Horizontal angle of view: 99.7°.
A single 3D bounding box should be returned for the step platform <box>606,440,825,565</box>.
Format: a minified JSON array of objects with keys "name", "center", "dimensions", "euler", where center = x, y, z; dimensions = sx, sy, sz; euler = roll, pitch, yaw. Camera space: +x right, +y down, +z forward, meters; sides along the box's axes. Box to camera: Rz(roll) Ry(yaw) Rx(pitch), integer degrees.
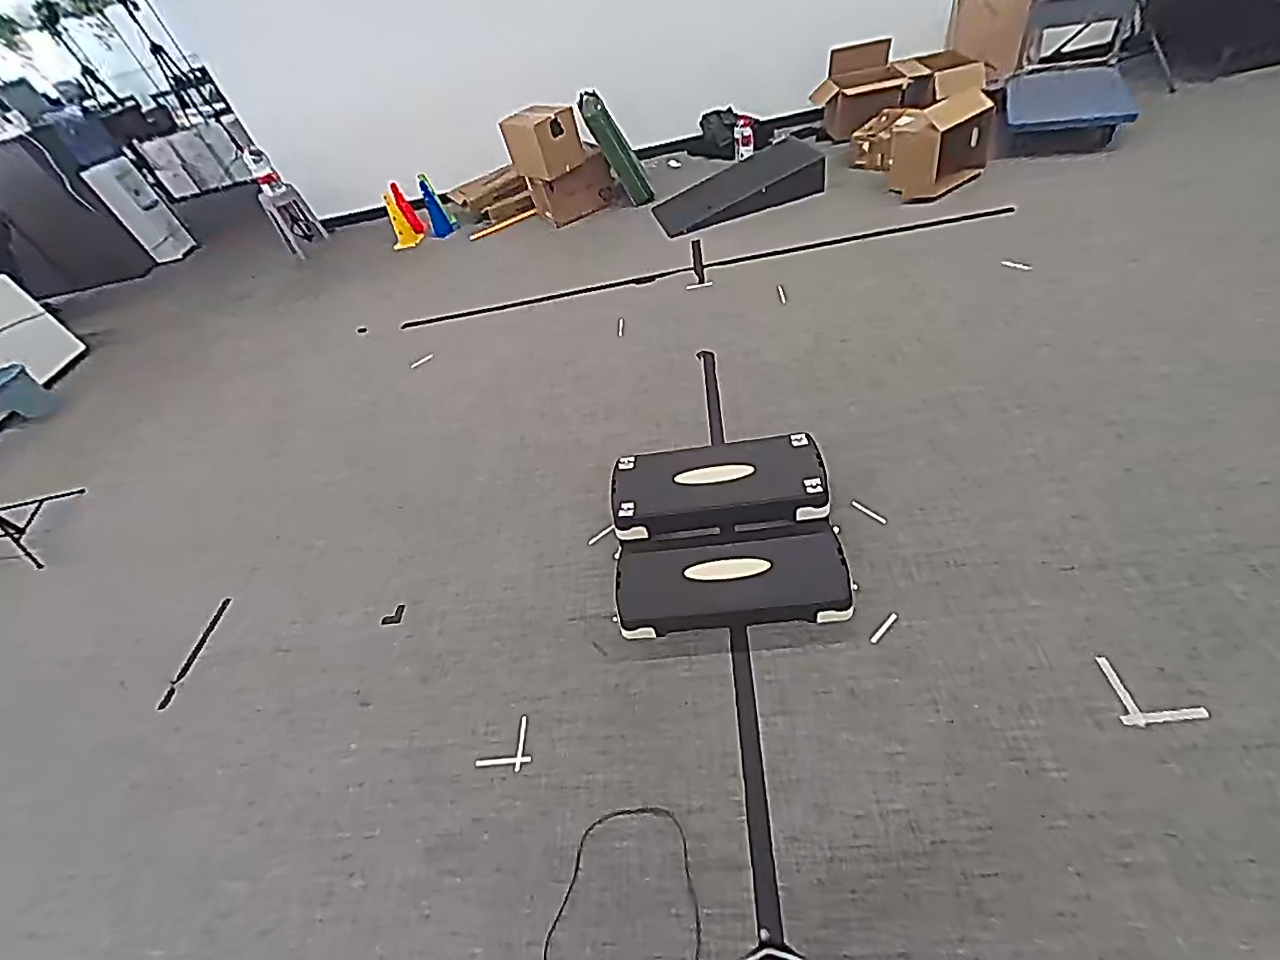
[{"name":"step platform","center":[0.231,0.070,1.740],"dimensions":[0.684,0.204,0.286],"euler":[-8,48,7]}]
